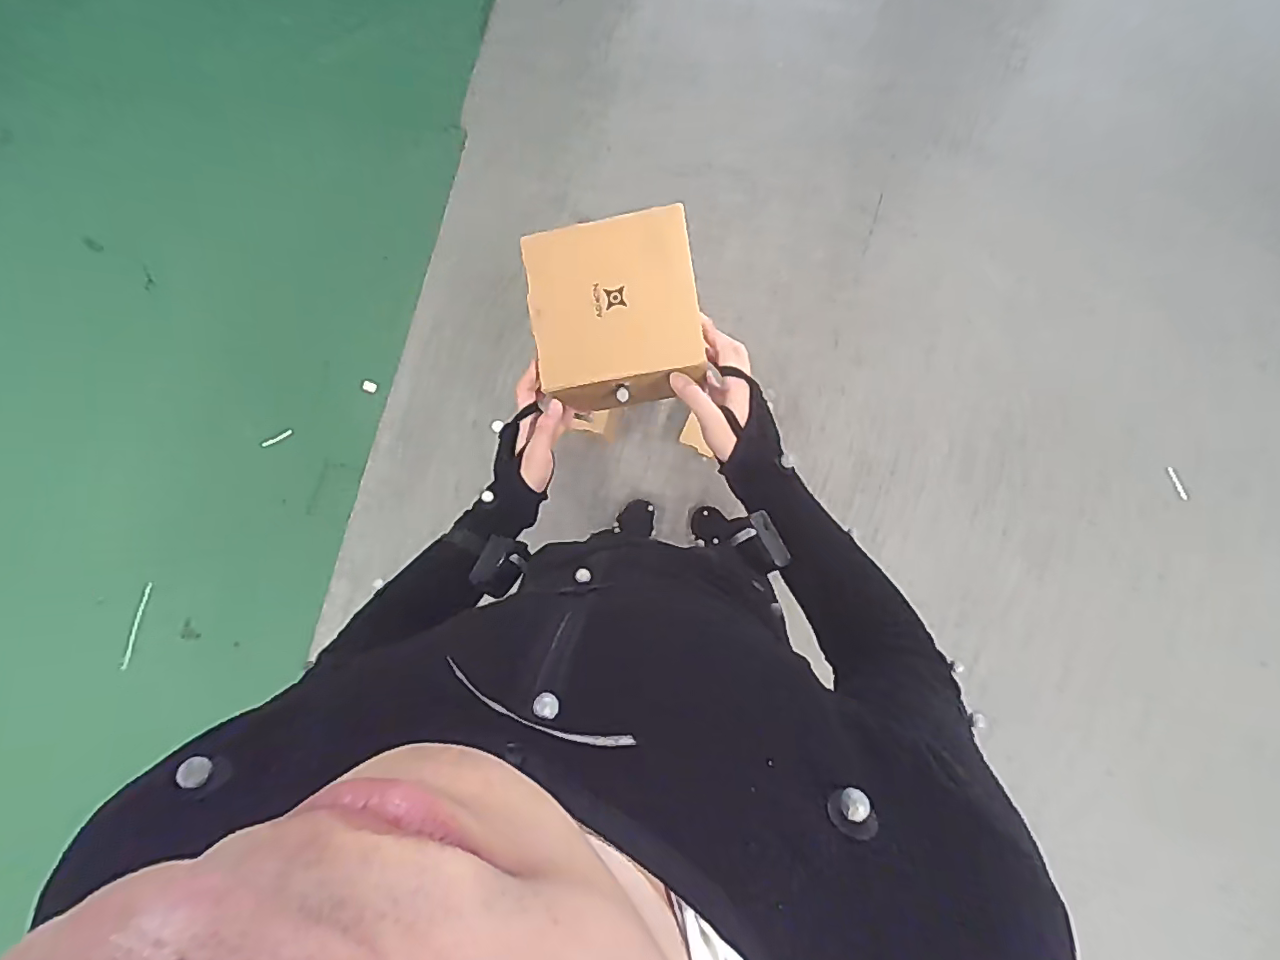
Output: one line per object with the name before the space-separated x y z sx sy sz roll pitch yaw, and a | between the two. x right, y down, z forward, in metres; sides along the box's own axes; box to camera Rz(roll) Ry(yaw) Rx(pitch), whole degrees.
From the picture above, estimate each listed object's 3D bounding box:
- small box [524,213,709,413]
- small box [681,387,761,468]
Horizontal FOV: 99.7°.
small box | -0.016 -0.179 0.636 0.179 0.176 0.168 -9 88 9
small box | 0.233 -0.142 1.553 0.168 0.176 0.179 24 92 8
